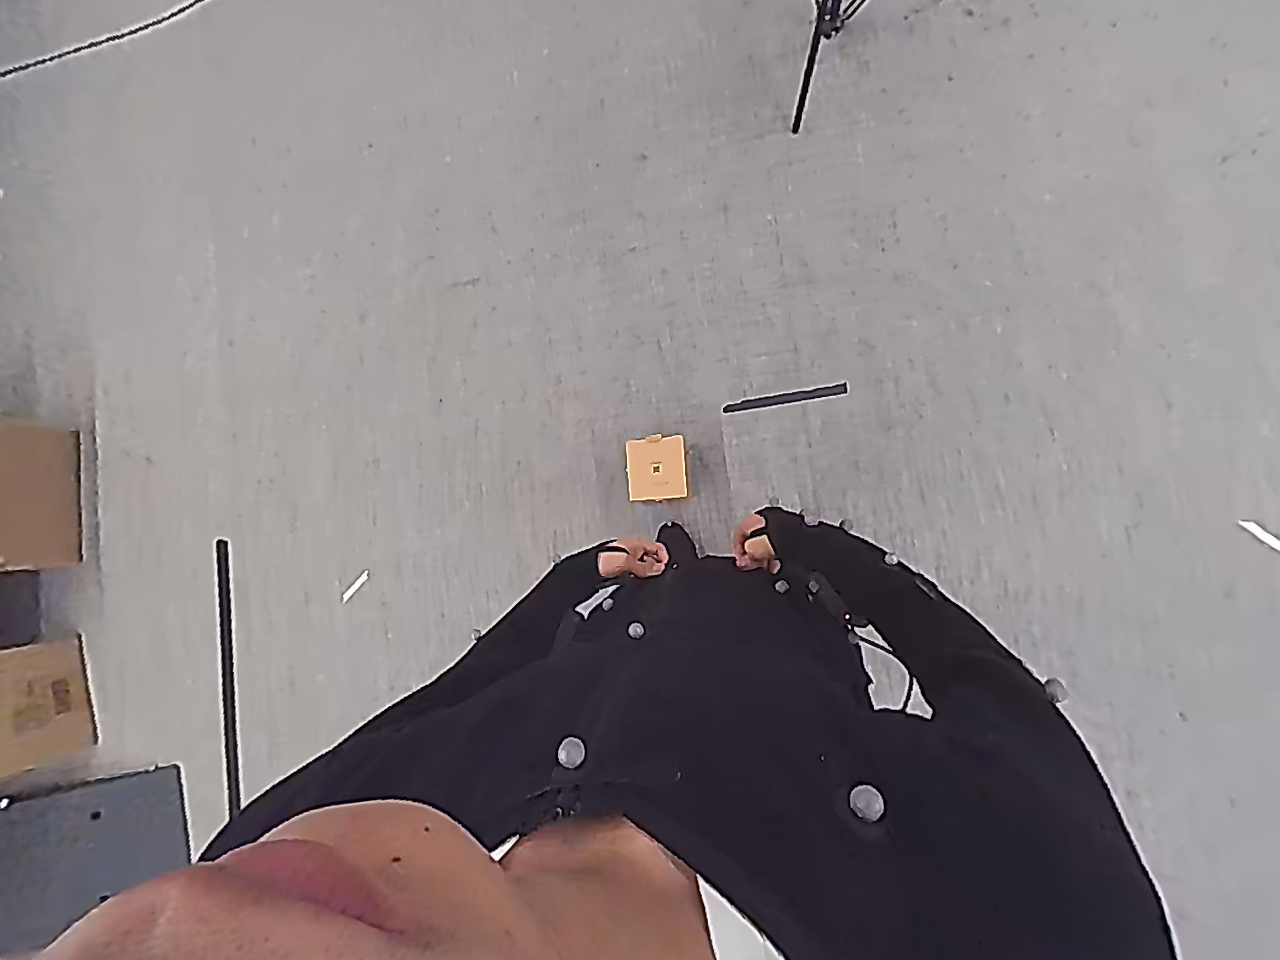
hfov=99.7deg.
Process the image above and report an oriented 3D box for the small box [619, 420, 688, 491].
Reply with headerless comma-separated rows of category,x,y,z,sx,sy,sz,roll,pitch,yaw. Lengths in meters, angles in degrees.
small box,0.042,-0.064,1.517,0.168,0.176,0.179,-5,86,11
